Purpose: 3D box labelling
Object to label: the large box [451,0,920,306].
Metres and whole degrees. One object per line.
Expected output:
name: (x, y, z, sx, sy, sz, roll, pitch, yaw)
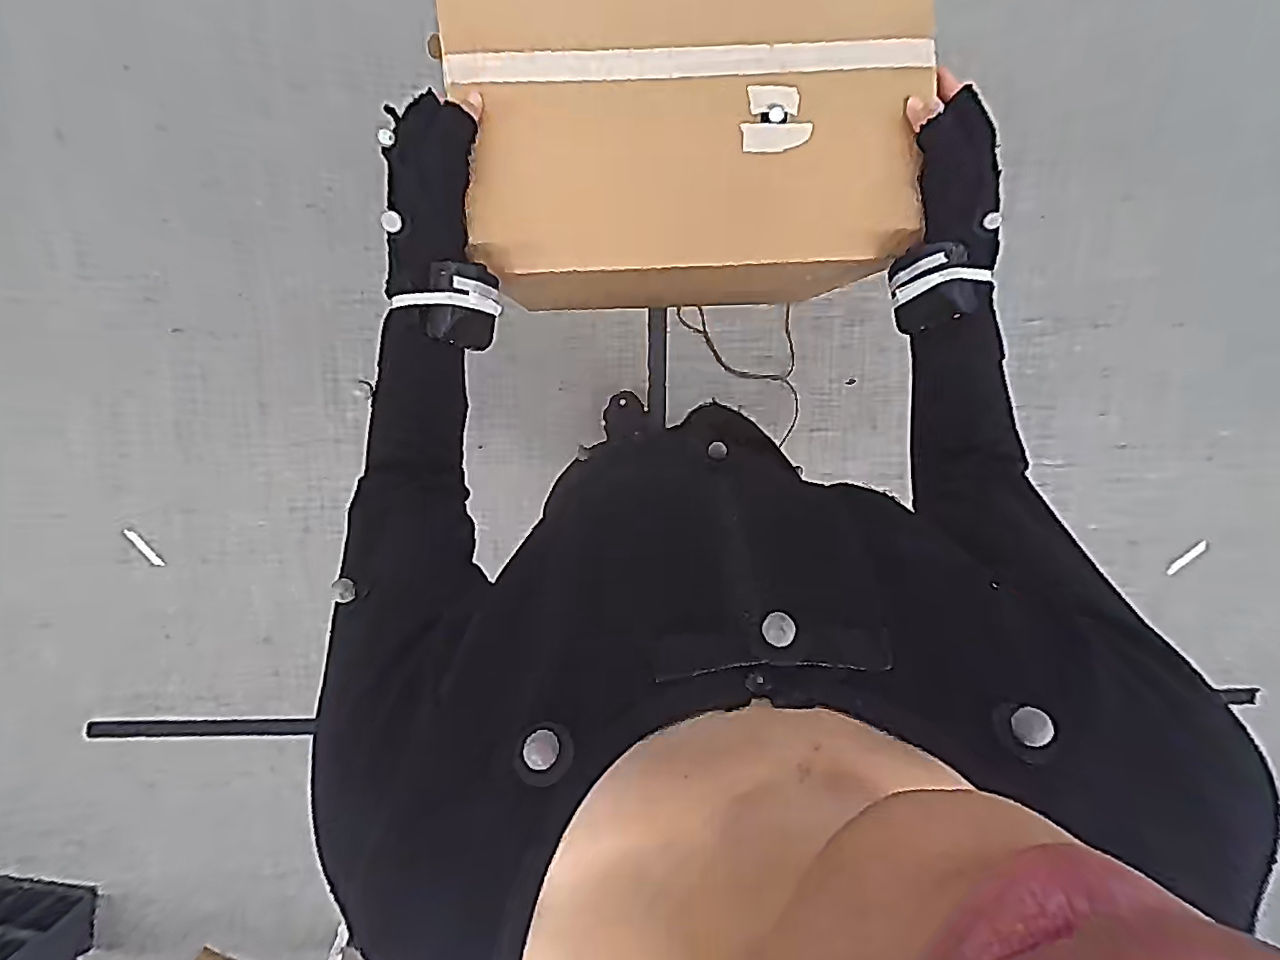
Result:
large box: (0.035, -0.384, 0.610, 0.408, 0.320, 0.320, -3, 102, -2)
